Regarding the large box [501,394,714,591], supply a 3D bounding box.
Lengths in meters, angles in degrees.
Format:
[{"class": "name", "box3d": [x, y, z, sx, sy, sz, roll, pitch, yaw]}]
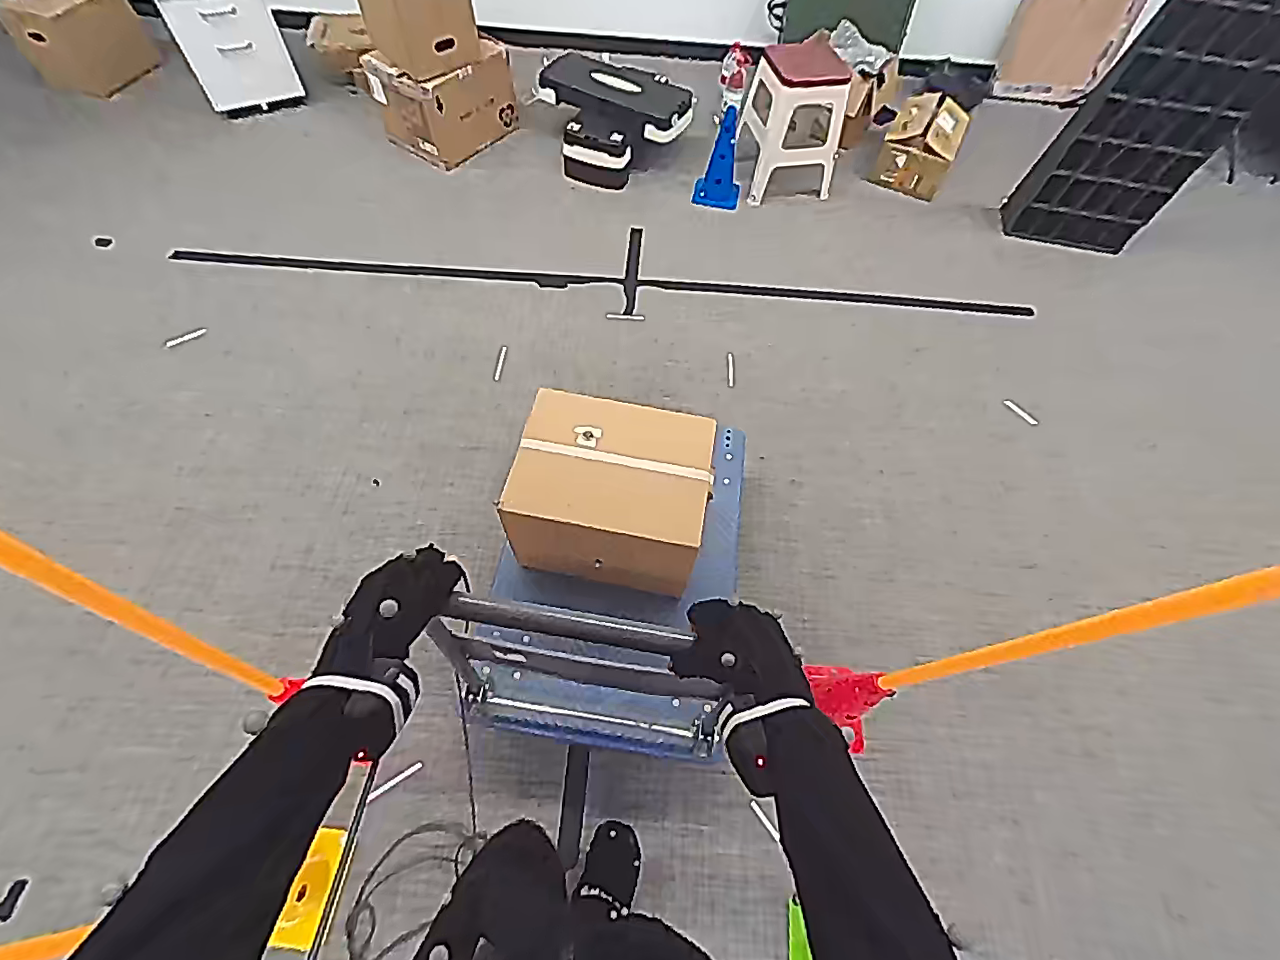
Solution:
[{"class": "large box", "box3d": [-0.059, 0.040, 1.261, 0.408, 0.320, 0.320, 10, 60, 4]}]

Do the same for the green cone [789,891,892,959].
[{"class": "green cone", "box3d": [0.417, 0.888, 0.956, 0.202, 0.368, 0.200, 8, 59, 0]}]

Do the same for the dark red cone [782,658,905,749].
[{"class": "dark red cone", "box3d": [0.466, 0.464, 1.187, 0.201, 0.394, 0.202, 5, 60, -2]}]

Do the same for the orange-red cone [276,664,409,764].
[{"class": "orange-red cone", "box3d": [-0.668, 0.467, 1.150, 0.198, 0.360, 0.199, 11, 58, 3]}]
